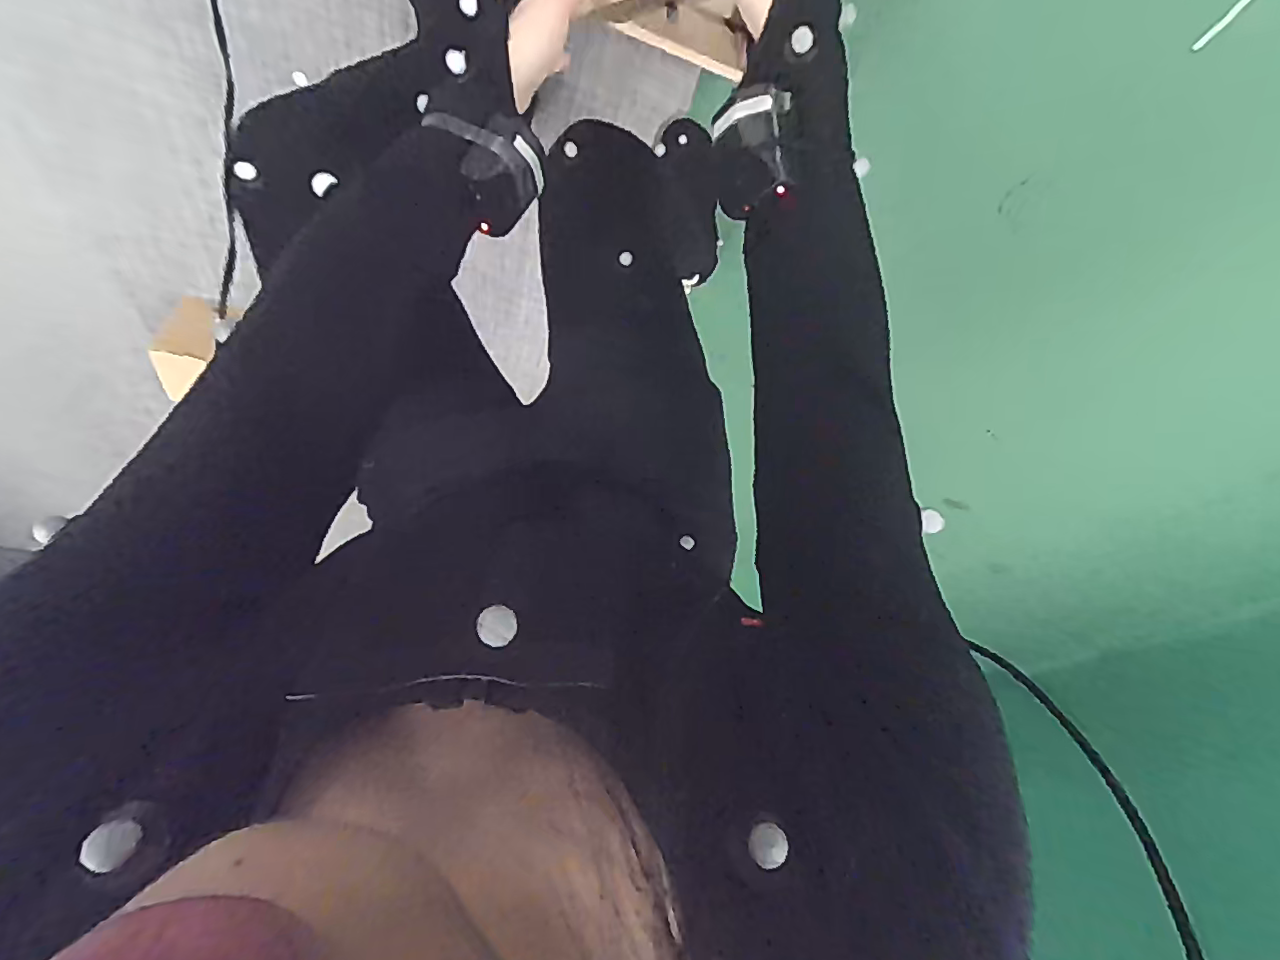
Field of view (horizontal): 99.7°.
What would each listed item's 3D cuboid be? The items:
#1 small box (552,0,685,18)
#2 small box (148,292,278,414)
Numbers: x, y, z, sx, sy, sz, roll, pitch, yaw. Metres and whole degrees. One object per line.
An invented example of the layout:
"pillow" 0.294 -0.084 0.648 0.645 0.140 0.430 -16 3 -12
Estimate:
"small box" 0.020 -0.492 0.427 0.179 0.176 0.168 3 130 20
"small box" -0.940 -0.282 1.212 0.168 0.176 0.179 15 144 -19
